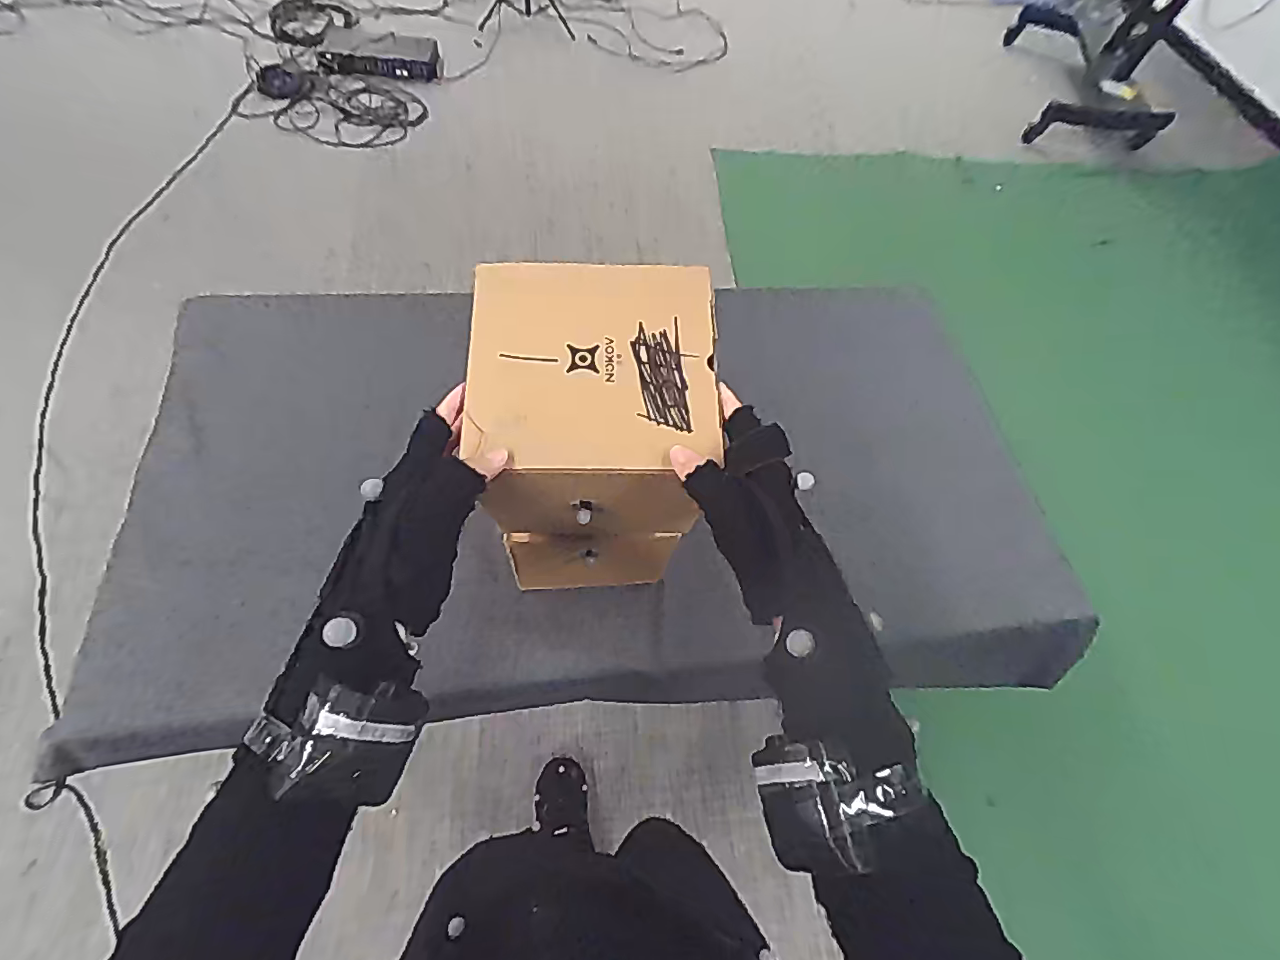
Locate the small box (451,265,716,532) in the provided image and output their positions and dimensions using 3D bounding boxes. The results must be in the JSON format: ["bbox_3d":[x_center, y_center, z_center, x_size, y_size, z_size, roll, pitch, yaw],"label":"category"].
[{"bbox_3d":[-0.043,-0.055,0.455,0.179,0.176,0.168,-1,70,-3],"label":"small box"}]

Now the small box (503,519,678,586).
[{"bbox_3d":[-0.061,0.021,0.638,0.179,0.176,0.168,-3,64,-8],"label":"small box"}]
